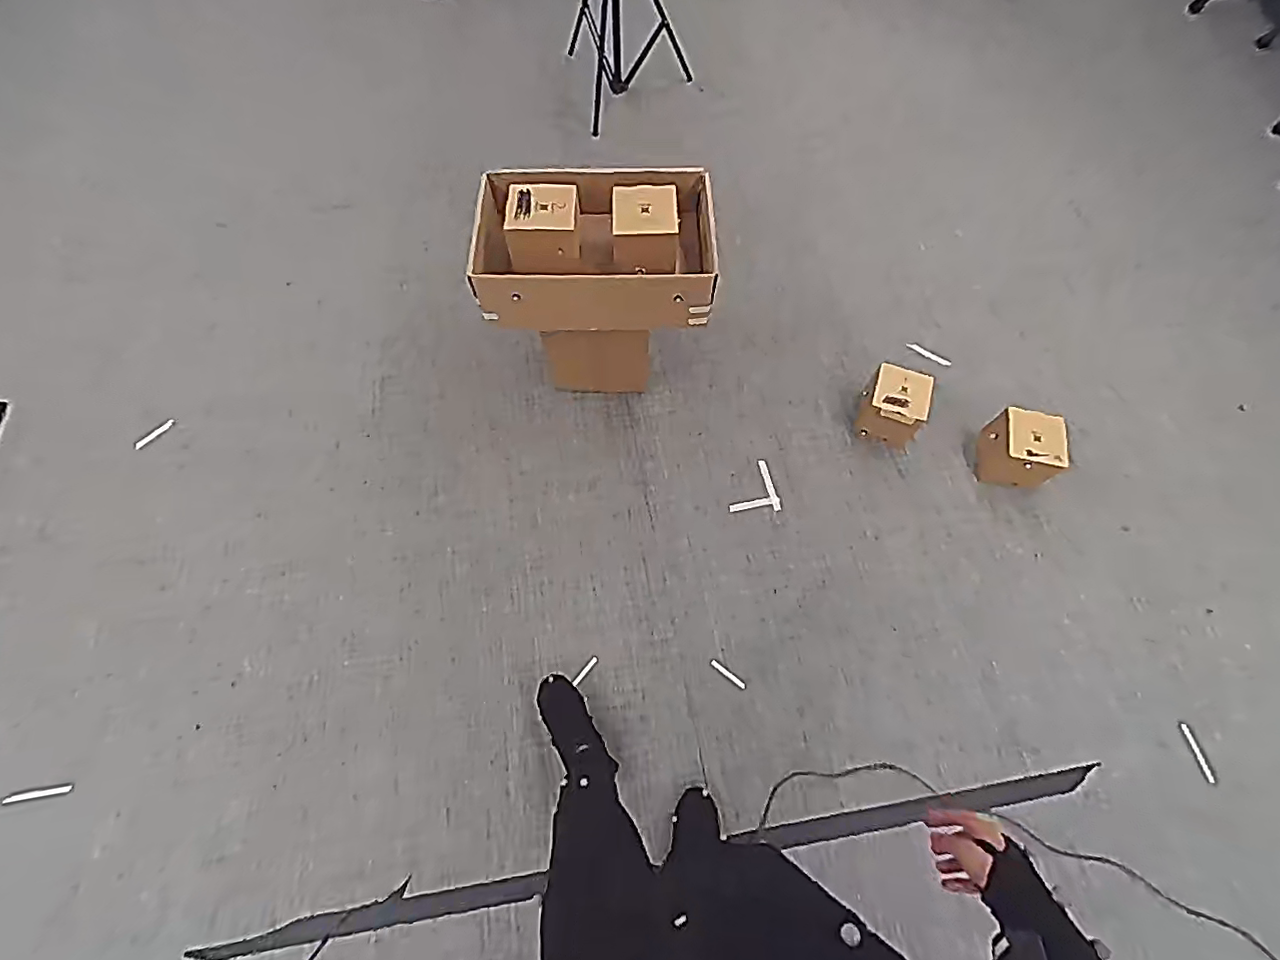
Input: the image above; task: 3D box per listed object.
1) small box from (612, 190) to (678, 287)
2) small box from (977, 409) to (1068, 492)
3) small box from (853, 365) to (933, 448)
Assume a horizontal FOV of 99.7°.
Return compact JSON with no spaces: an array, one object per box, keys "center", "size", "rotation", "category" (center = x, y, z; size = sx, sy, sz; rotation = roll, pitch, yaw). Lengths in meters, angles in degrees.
[{"center":[0.012,-0.644,1.447],"size":[0.168,0.176,0.179],"rotation":[-2,64,0],"category":"small box"},{"center":[1.163,-0.088,1.658],"size":[0.168,0.176,0.179],"rotation":[13,65,6],"category":"small box"},{"center":[0.798,-0.228,1.721],"size":[0.168,0.176,0.179],"rotation":[20,67,8],"category":"small box"}]
